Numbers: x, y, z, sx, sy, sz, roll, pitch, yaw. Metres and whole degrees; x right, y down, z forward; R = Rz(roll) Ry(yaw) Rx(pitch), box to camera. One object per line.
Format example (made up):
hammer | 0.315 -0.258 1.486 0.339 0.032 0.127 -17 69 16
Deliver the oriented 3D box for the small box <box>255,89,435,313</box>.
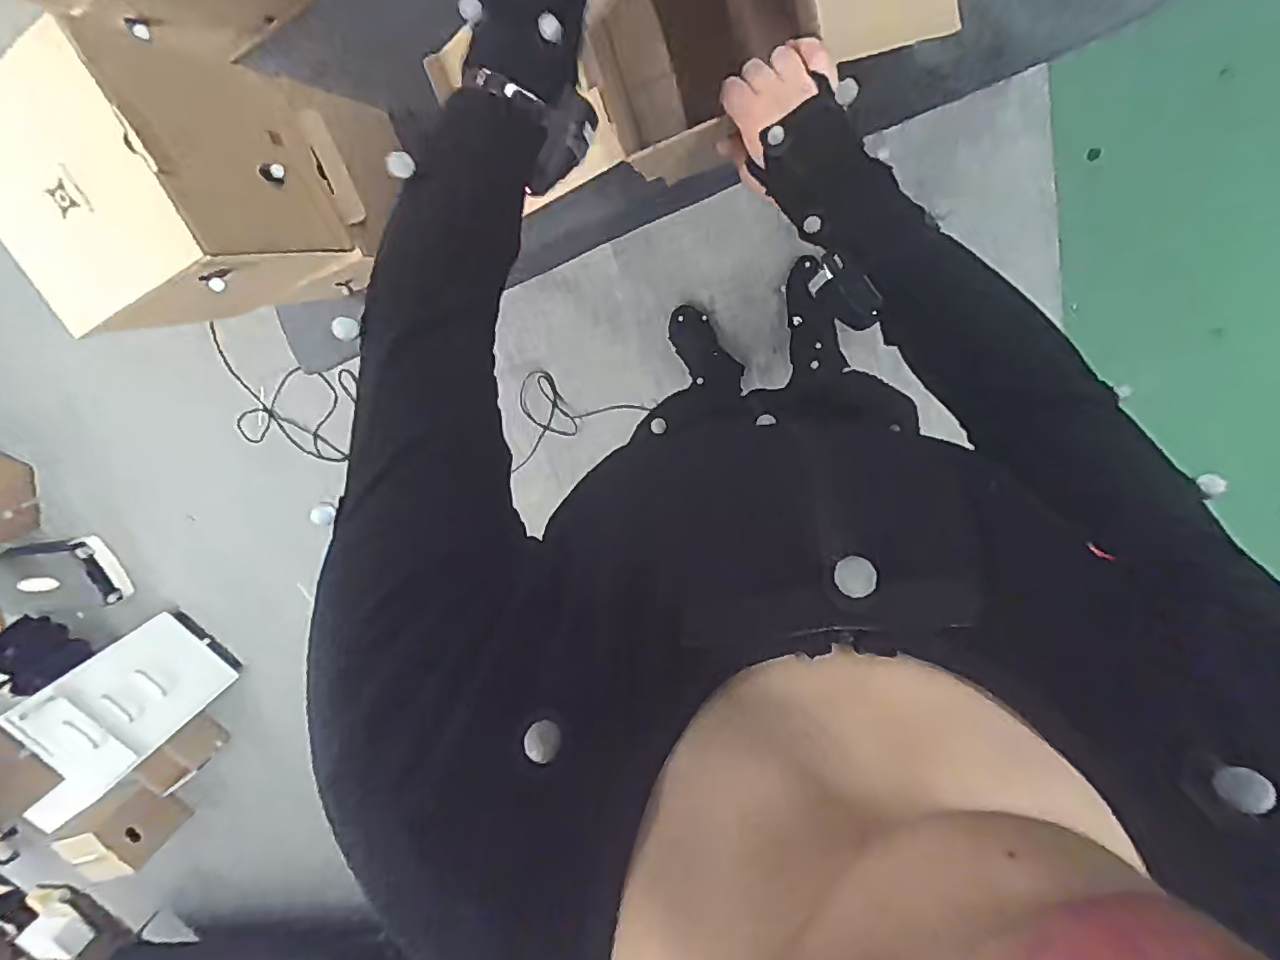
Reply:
small box | -0.368 -0.310 0.625 0.179 0.176 0.168 -13 111 18

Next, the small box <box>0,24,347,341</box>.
small box | -0.414 -0.243 0.484 0.179 0.176 0.168 -18 109 19
